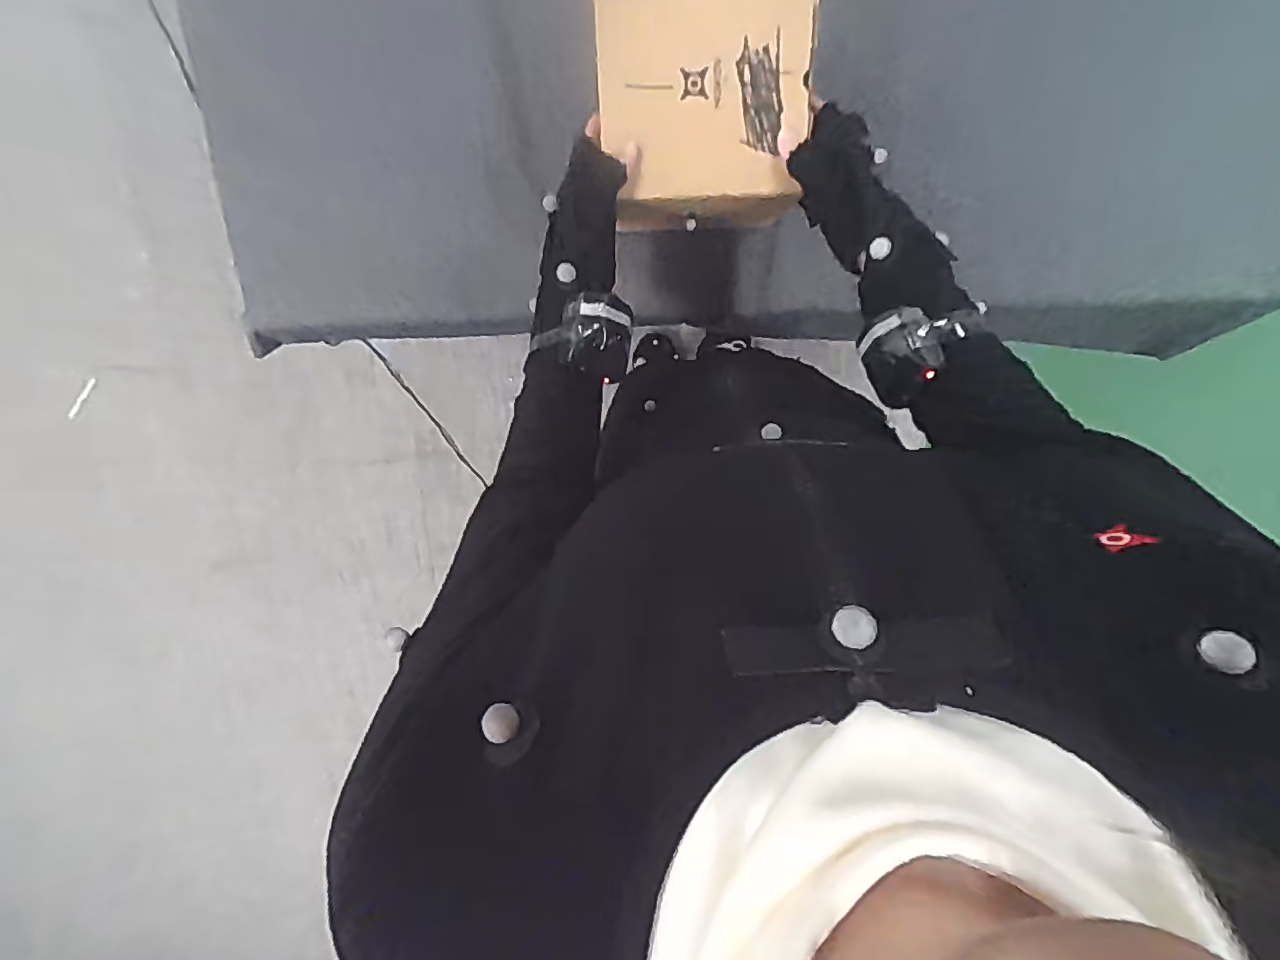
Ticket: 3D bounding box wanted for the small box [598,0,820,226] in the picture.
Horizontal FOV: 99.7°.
[{"bbox_3d":[0.057,-0.345,0.514,0.179,0.176,0.168,-1,106,3],"label":"small box"}]
